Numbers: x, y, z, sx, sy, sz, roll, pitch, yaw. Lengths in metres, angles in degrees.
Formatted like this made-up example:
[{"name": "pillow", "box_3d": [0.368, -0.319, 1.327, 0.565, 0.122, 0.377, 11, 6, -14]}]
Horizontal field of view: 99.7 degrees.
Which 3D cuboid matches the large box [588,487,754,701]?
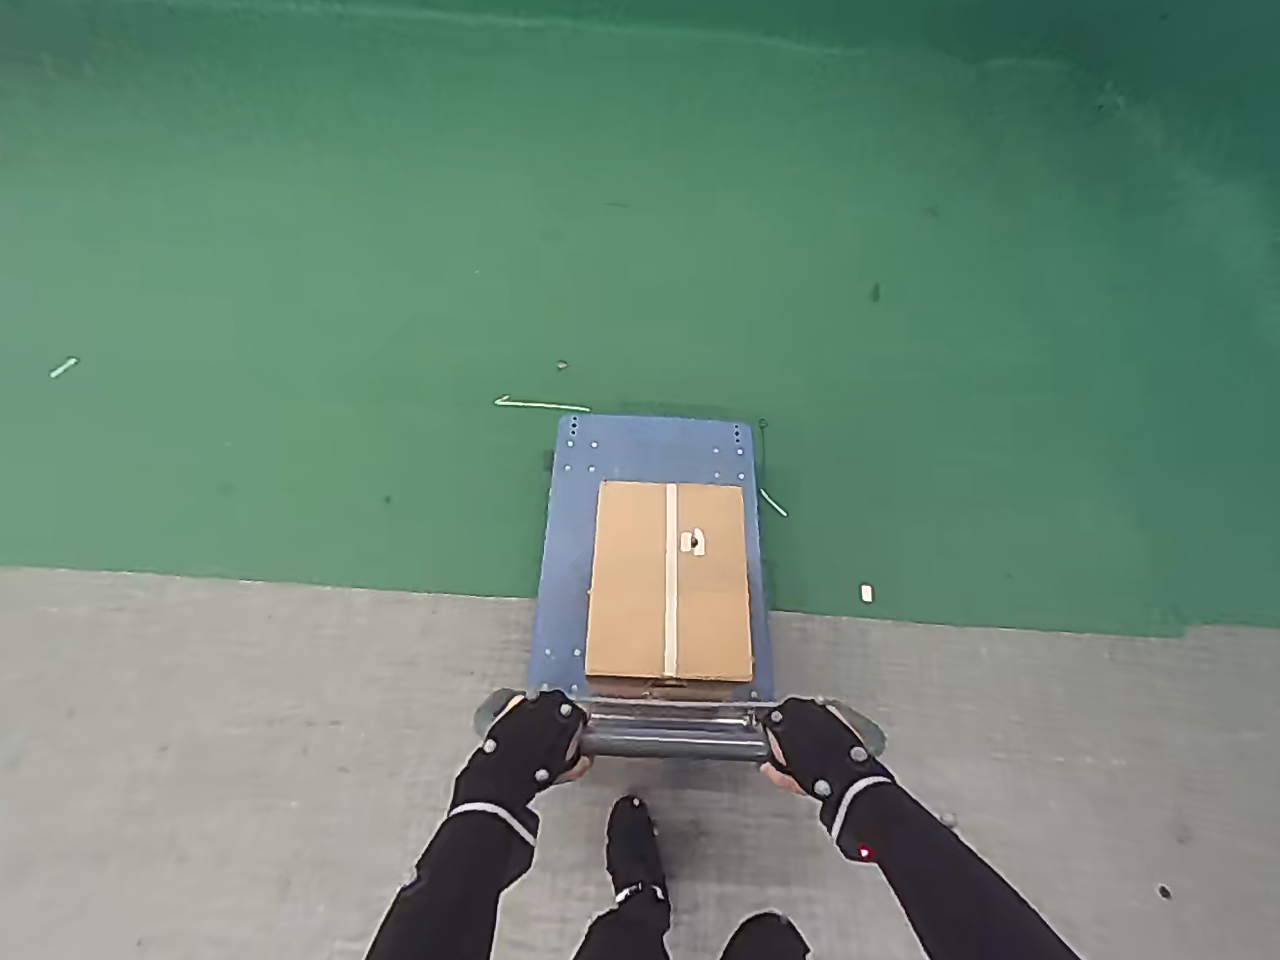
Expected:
[{"name": "large box", "box_3d": [0.058, 0.267, 1.216, 0.320, 0.320, 0.408, 3, 61, -1]}]
